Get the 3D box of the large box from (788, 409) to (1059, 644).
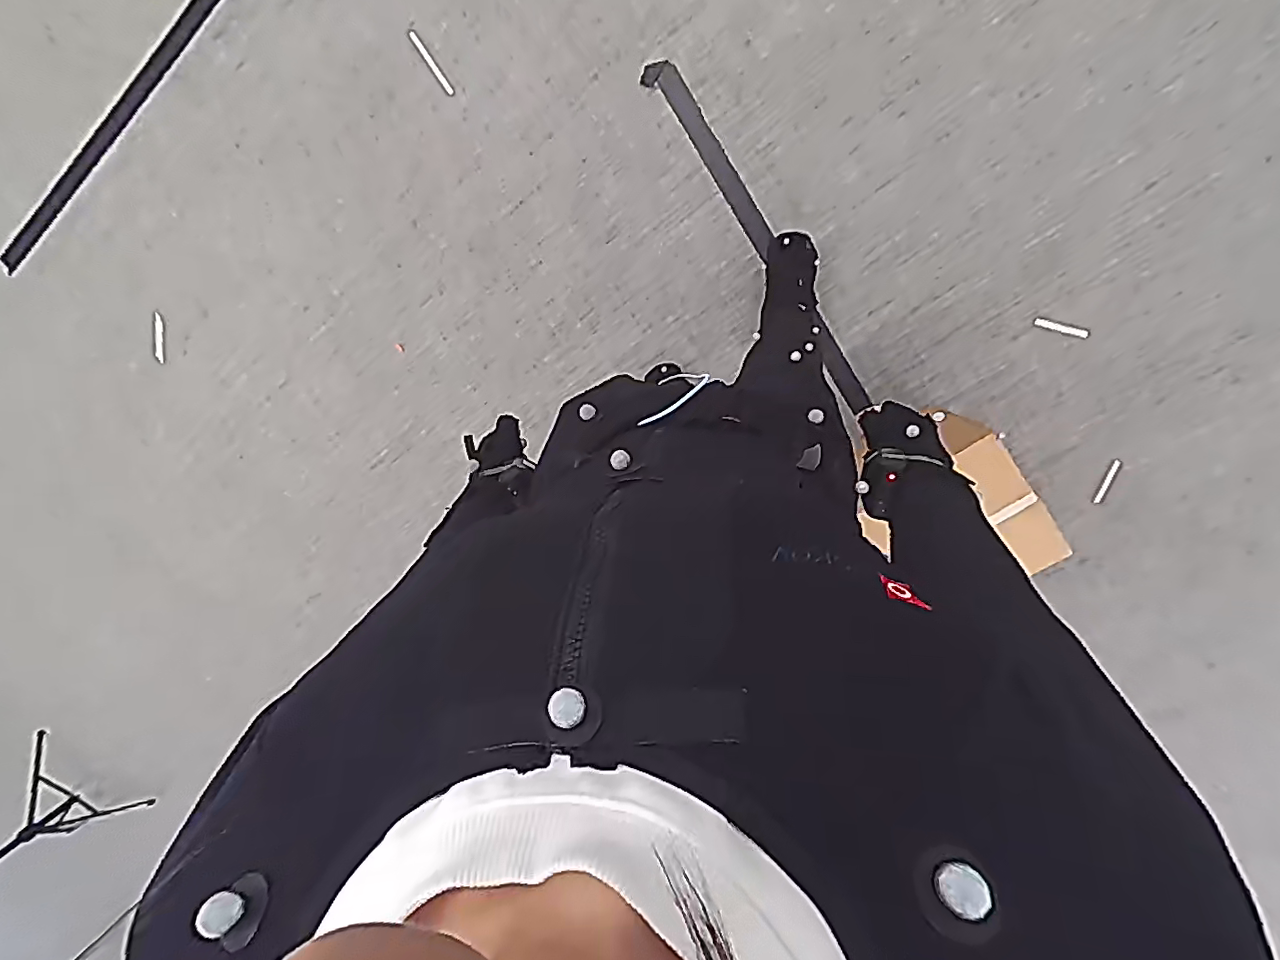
[{"bbox_3d":[0.611,0.092,1.249,0.408,0.320,0.320,-36,100,15],"label":"large box"}]
